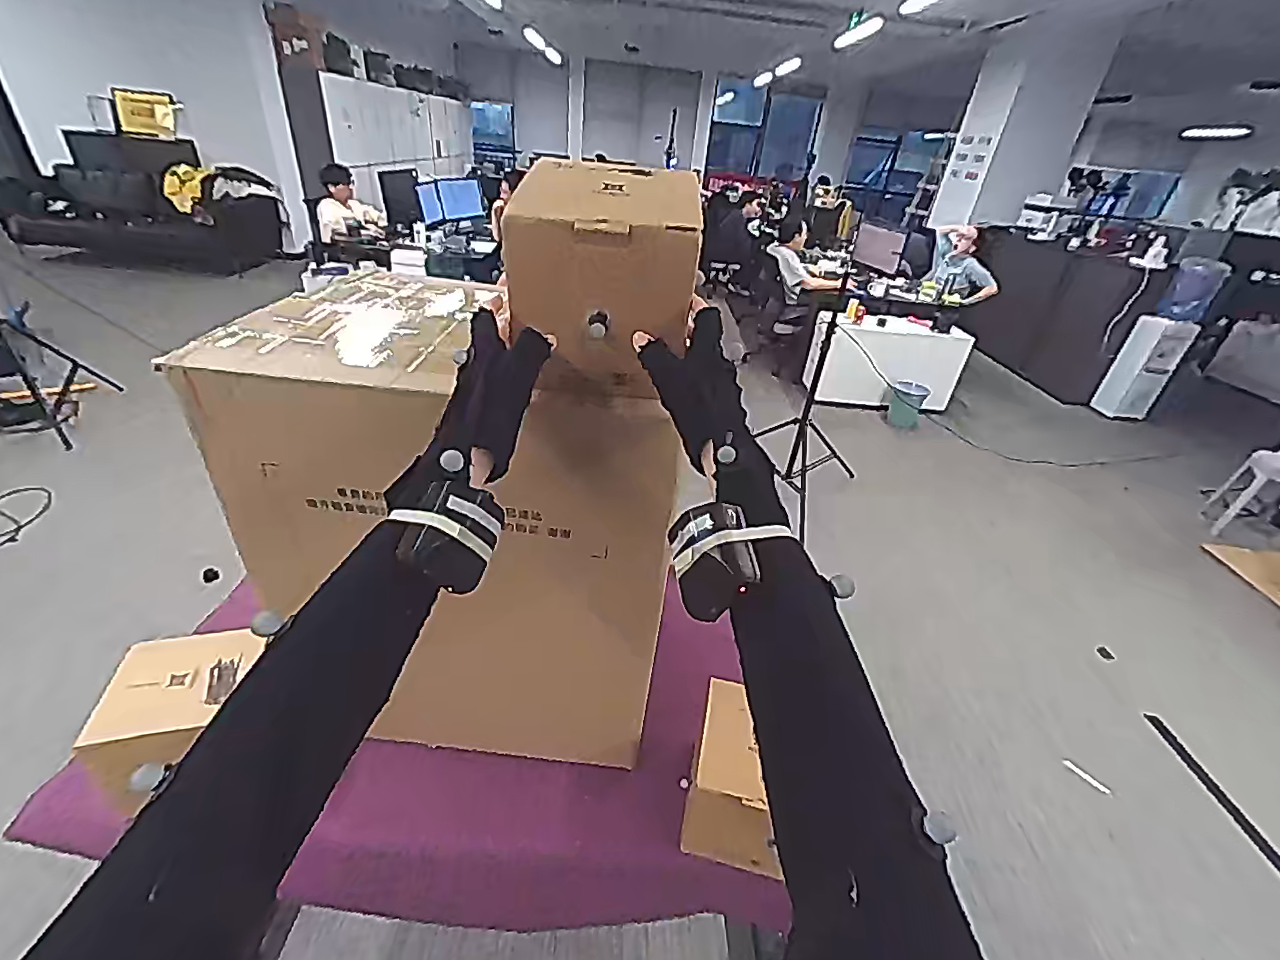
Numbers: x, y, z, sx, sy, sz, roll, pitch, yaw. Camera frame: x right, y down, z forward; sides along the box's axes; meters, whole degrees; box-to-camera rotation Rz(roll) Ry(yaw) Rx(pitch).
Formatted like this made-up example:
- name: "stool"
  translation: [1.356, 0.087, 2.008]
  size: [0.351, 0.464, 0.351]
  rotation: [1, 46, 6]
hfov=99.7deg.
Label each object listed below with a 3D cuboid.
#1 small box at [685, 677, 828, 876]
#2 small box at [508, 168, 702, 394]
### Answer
- name: "small box"
  translation: [0.163, 0.427, 0.784]
  size: [0.168, 0.176, 0.179]
  rotation: [11, 31, 7]
- name: "small box"
  translation: [-0.029, -0.205, 0.560]
  size: [0.168, 0.176, 0.179]
  rotation: [5, 41, -1]
